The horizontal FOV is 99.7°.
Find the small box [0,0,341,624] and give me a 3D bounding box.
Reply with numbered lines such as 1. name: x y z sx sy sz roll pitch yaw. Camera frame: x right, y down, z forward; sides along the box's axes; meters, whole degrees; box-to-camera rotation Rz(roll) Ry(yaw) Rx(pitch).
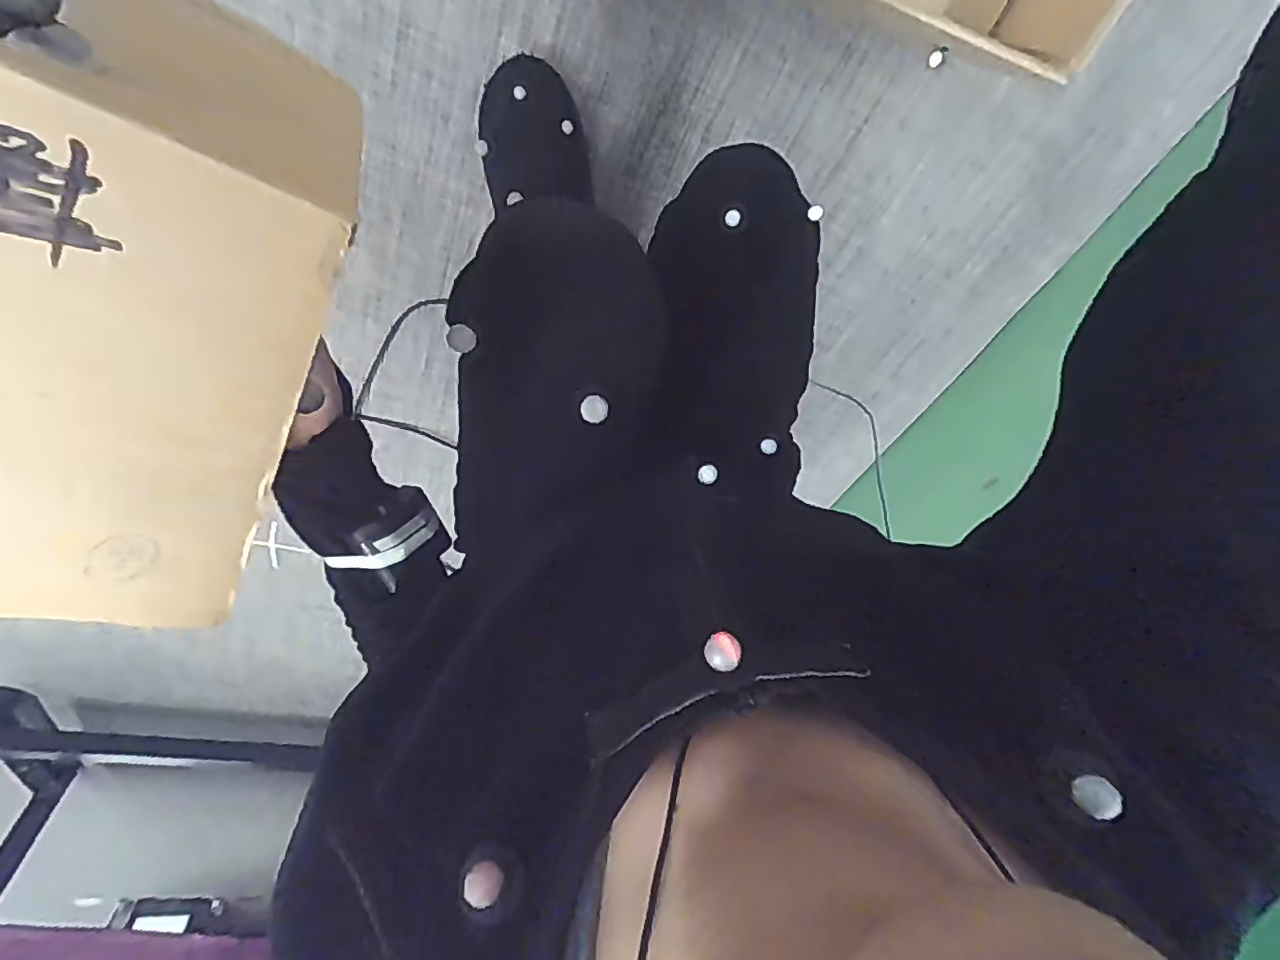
1. small box: -0.205 -0.079 0.169 0.168 0.176 0.179 15 124 -38
